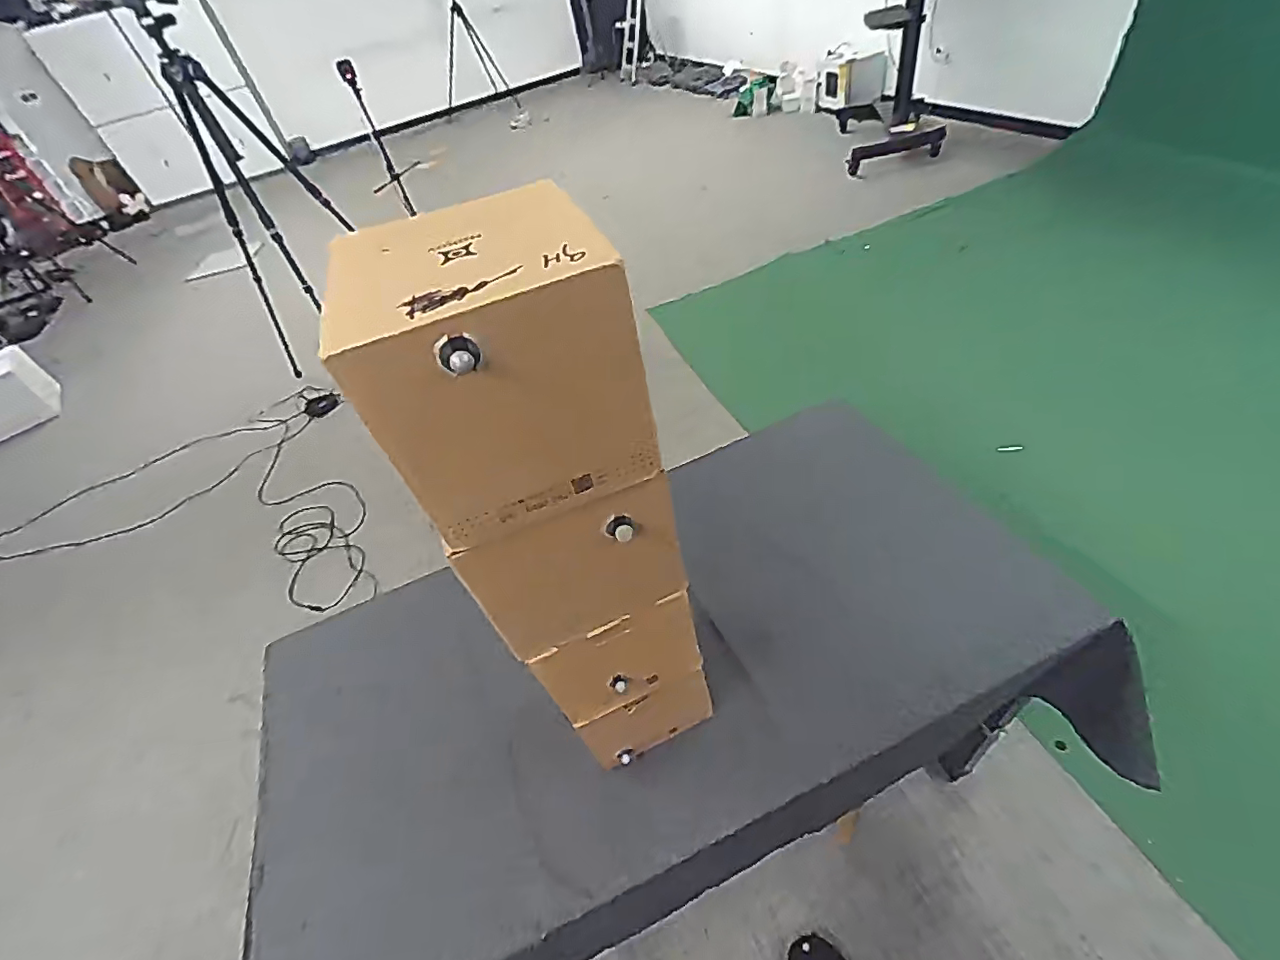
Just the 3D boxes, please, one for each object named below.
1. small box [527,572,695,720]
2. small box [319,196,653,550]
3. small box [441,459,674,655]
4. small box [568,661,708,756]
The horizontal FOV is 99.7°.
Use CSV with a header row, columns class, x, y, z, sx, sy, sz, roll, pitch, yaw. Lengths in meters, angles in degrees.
class,x,y,z,sx,sy,sz,roll,pitch,yaw
small box,-0.049,0.144,0.636,0.168,0.176,0.179,-24,46,-8
small box,-0.102,-0.081,0.402,0.168,0.176,0.179,-22,45,-7
small box,-0.076,0.033,0.517,0.179,0.176,0.168,-23,45,-8
small box,-0.019,0.254,0.750,0.168,0.176,0.179,-24,45,-8
